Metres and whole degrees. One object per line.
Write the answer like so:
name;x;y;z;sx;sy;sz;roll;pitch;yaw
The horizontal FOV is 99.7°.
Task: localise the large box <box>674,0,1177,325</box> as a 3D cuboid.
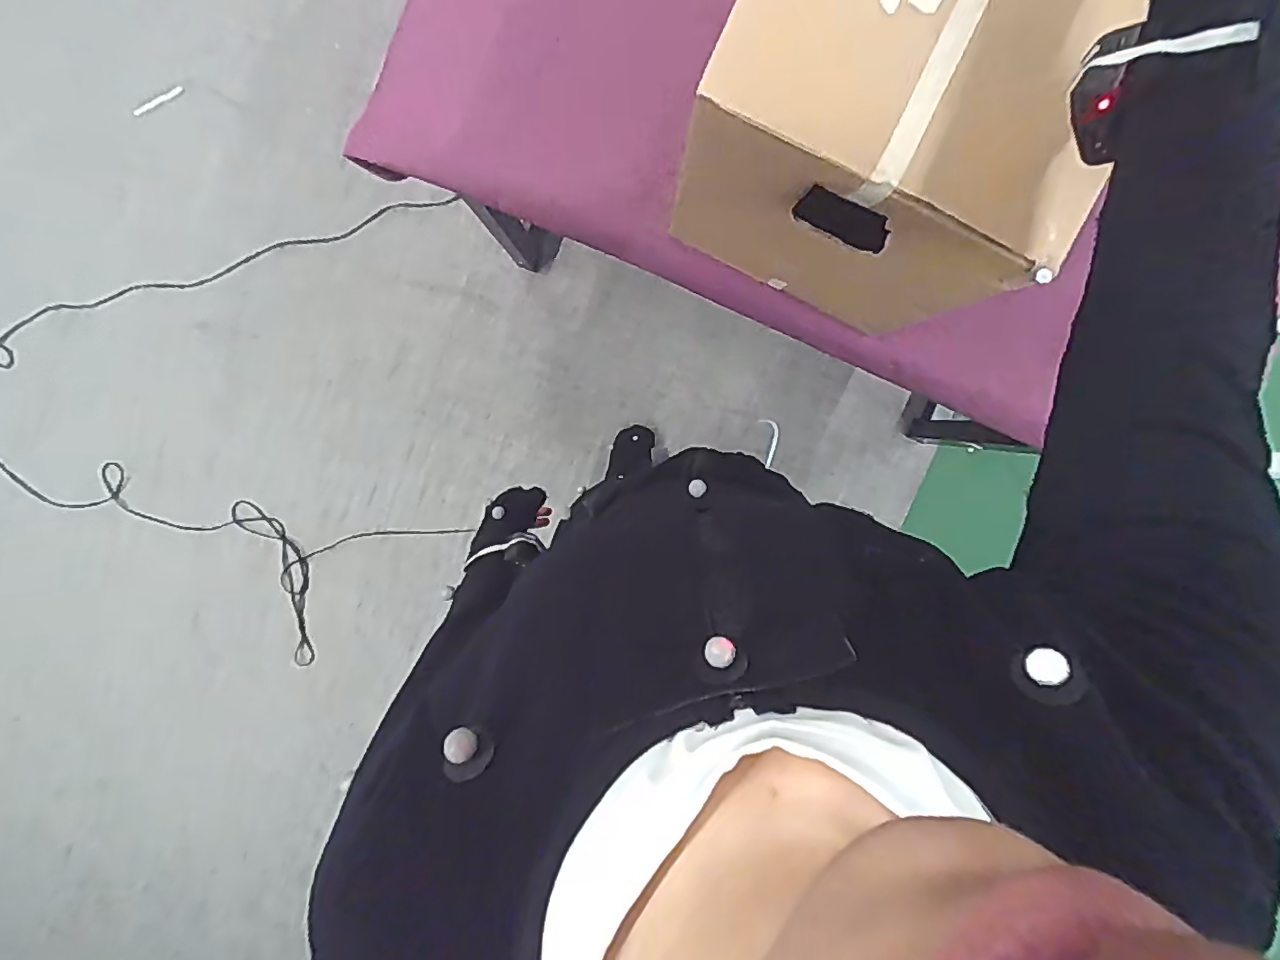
large box;0.263;-0.428;0.557;0.320;0.320;0.408;25;96;-3
